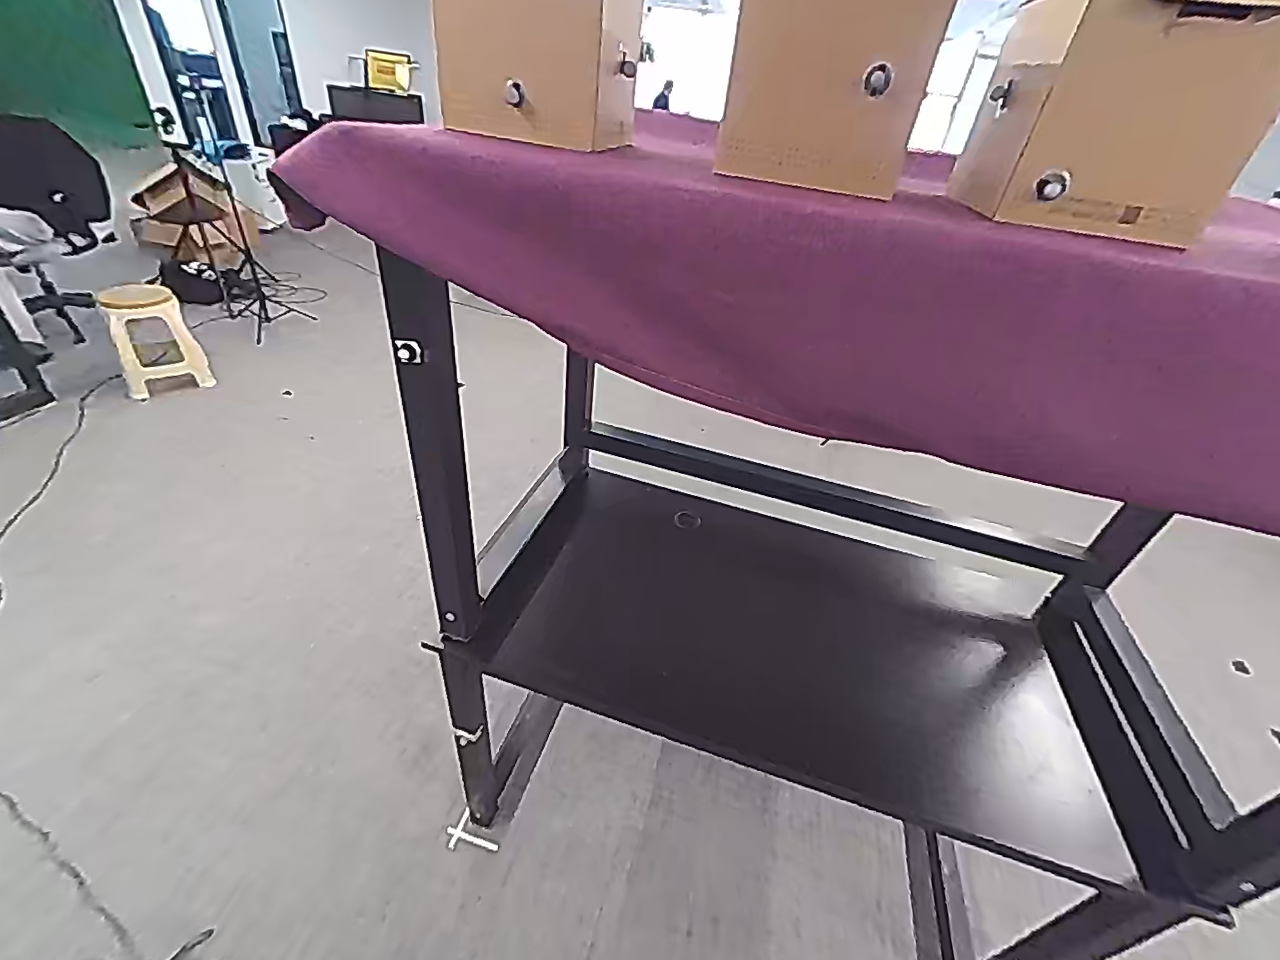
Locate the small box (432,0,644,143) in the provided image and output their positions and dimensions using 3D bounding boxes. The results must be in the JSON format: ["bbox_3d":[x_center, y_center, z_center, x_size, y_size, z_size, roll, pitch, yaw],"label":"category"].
[{"bbox_3d":[-0.099,-0.467,0.576,0.179,0.176,0.168,14,36,7],"label":"small box"}]

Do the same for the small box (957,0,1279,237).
[{"bbox_3d":[0.417,-0.325,0.476,0.168,0.176,0.179,12,35,6],"label":"small box"}]

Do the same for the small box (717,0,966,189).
[{"bbox_3d":[0.187,-0.391,0.528,0.179,0.176,0.168,15,36,10],"label":"small box"}]
